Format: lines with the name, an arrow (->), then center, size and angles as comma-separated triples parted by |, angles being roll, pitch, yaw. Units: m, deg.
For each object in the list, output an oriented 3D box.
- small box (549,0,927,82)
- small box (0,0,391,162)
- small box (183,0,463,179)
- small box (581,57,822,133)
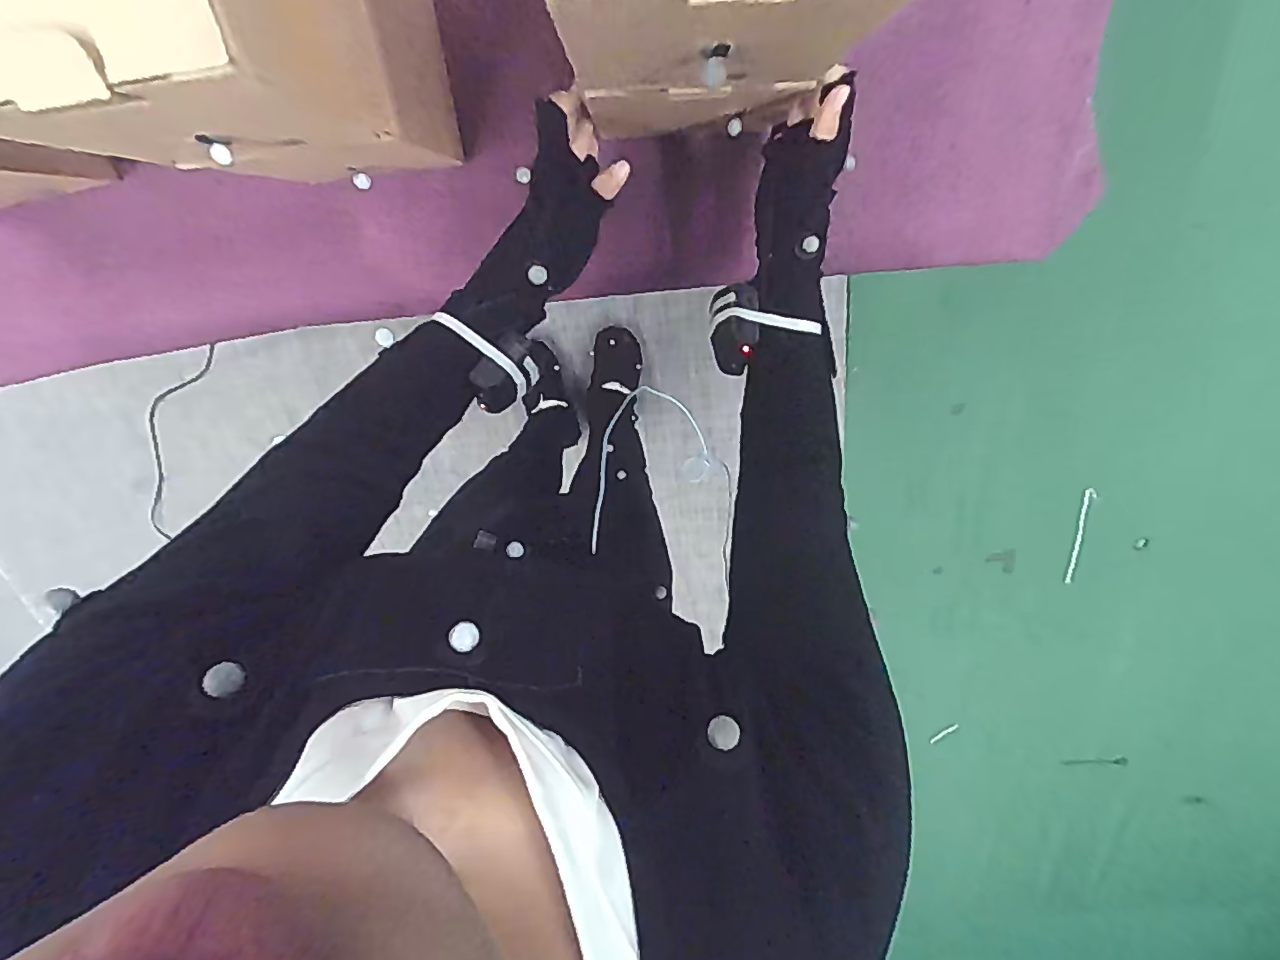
small box -> 0.042, -0.309, 0.257 | 0.168, 0.176, 0.179 | -1, 115, 0
small box -> -0.260, -0.280, 0.277 | 0.168, 0.176, 0.179 | -6, 115, 3
small box -> -0.258, -0.349, 0.424 | 0.168, 0.176, 0.179 | -4, 115, 3
small box -> 0.043, -0.373, 0.408 | 0.168, 0.176, 0.179 | -1, 114, 1
